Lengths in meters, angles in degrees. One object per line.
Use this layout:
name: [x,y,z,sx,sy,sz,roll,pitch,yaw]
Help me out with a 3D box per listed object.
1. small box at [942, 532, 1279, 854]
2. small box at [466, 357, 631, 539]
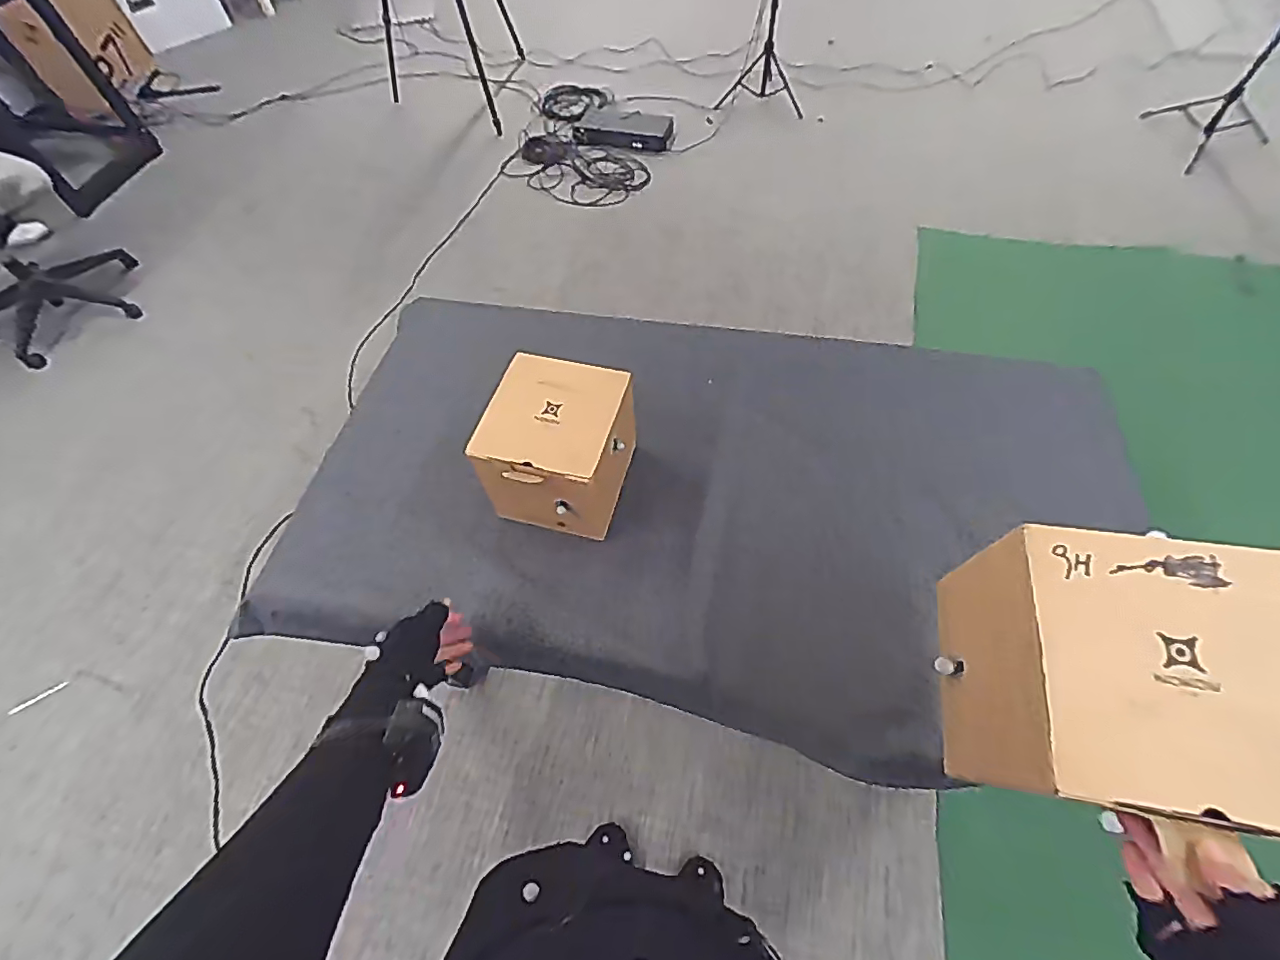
small box: [0.350,0.156,0.411,0.168,0.176,0.179,6,67,10]
small box: [-0.110,-0.039,0.752,0.168,0.176,0.179,12,58,8]
